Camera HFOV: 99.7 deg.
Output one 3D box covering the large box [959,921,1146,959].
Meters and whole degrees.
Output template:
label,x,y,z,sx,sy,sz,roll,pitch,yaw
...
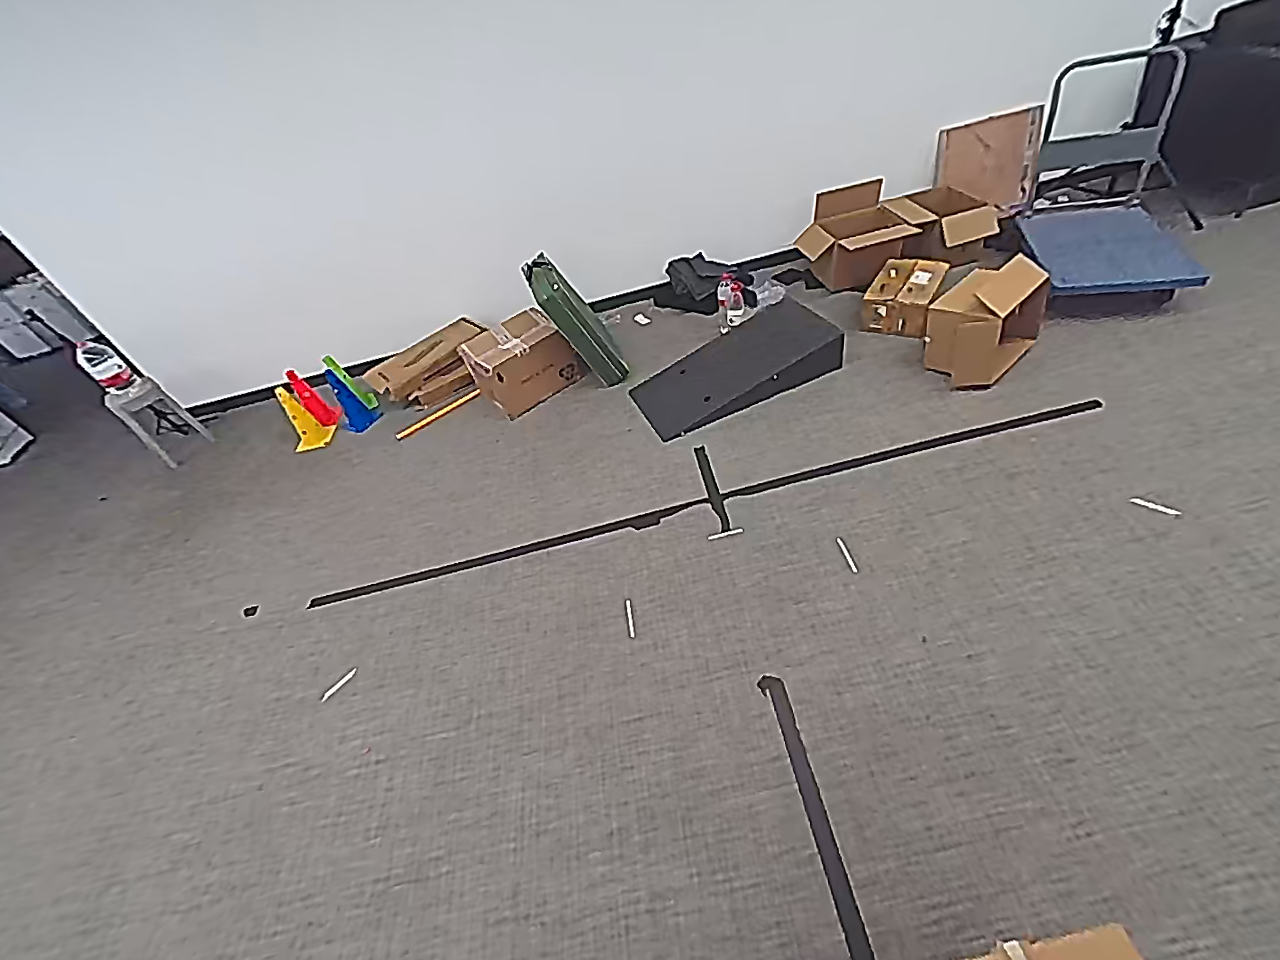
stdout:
label,x,y,z,sx,sy,sz,roll,pitch,yaw
large box,0.645,0.931,0.774,0.320,0.320,0.408,-20,44,6
